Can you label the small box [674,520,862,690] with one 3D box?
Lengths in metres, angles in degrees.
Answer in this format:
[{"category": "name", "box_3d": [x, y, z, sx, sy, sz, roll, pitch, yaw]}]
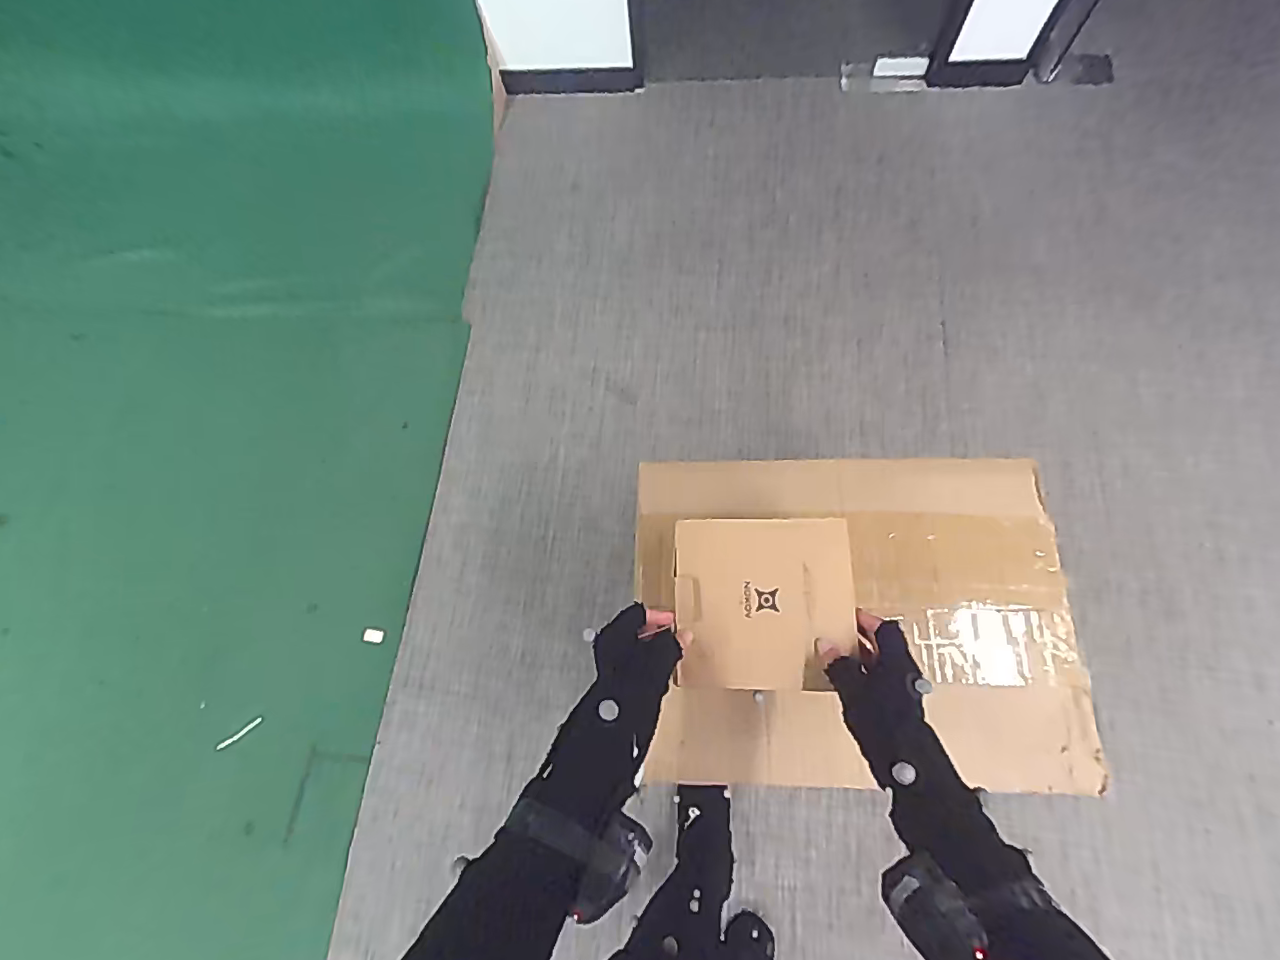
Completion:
[{"category": "small box", "box_3d": [0.129, 0.143, 0.608, 0.179, 0.176, 0.168, -1, 73, 4]}]
